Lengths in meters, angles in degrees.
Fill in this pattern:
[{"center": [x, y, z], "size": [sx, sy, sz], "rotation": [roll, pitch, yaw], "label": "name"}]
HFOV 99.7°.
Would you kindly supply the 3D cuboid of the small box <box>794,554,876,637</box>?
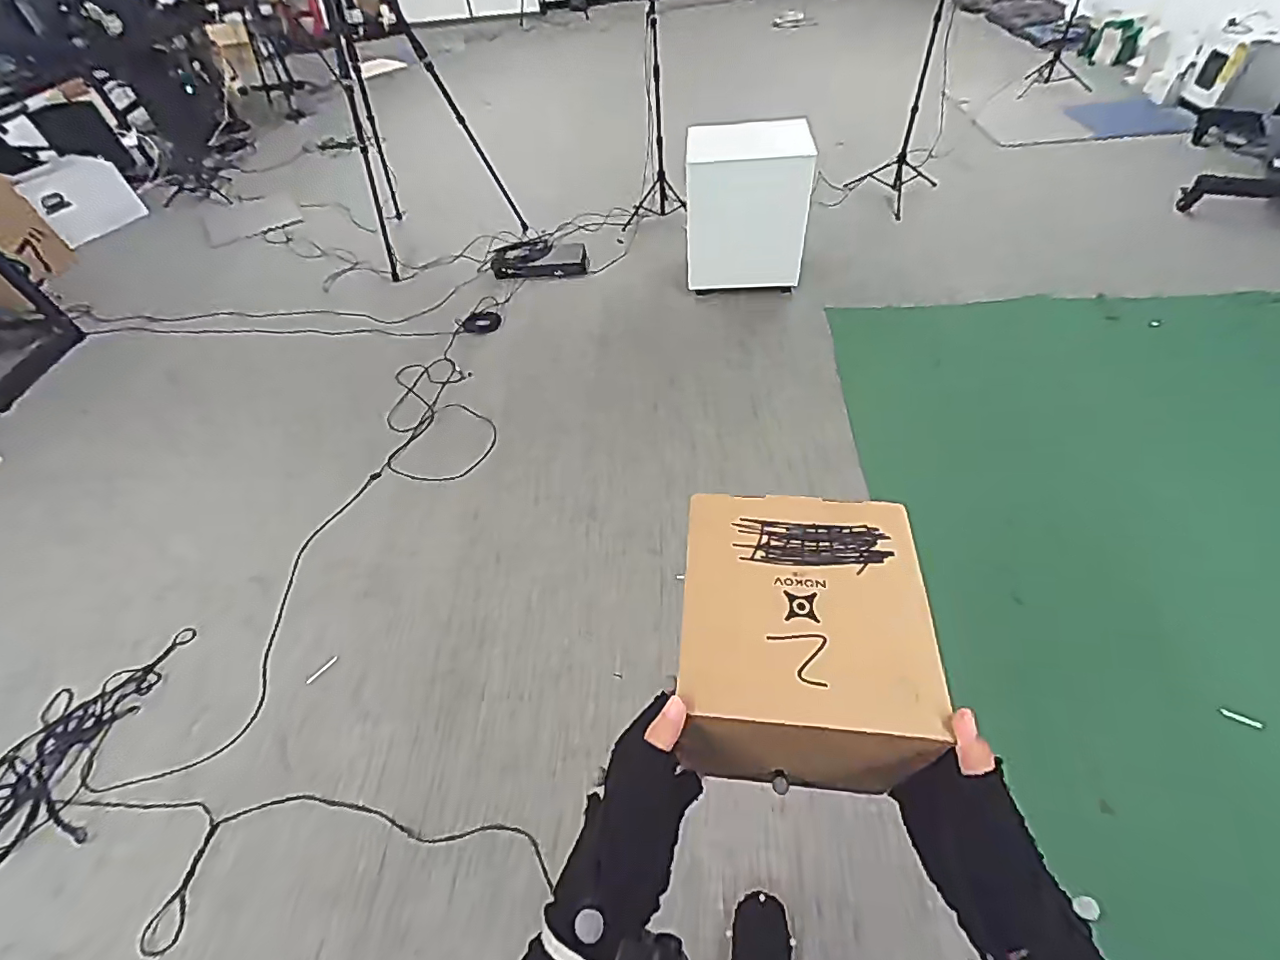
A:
[{"center": [0.526, 0.318, 1.478], "size": [0.168, 0.176, 0.179], "rotation": [-1, 51, 5], "label": "small box"}]
